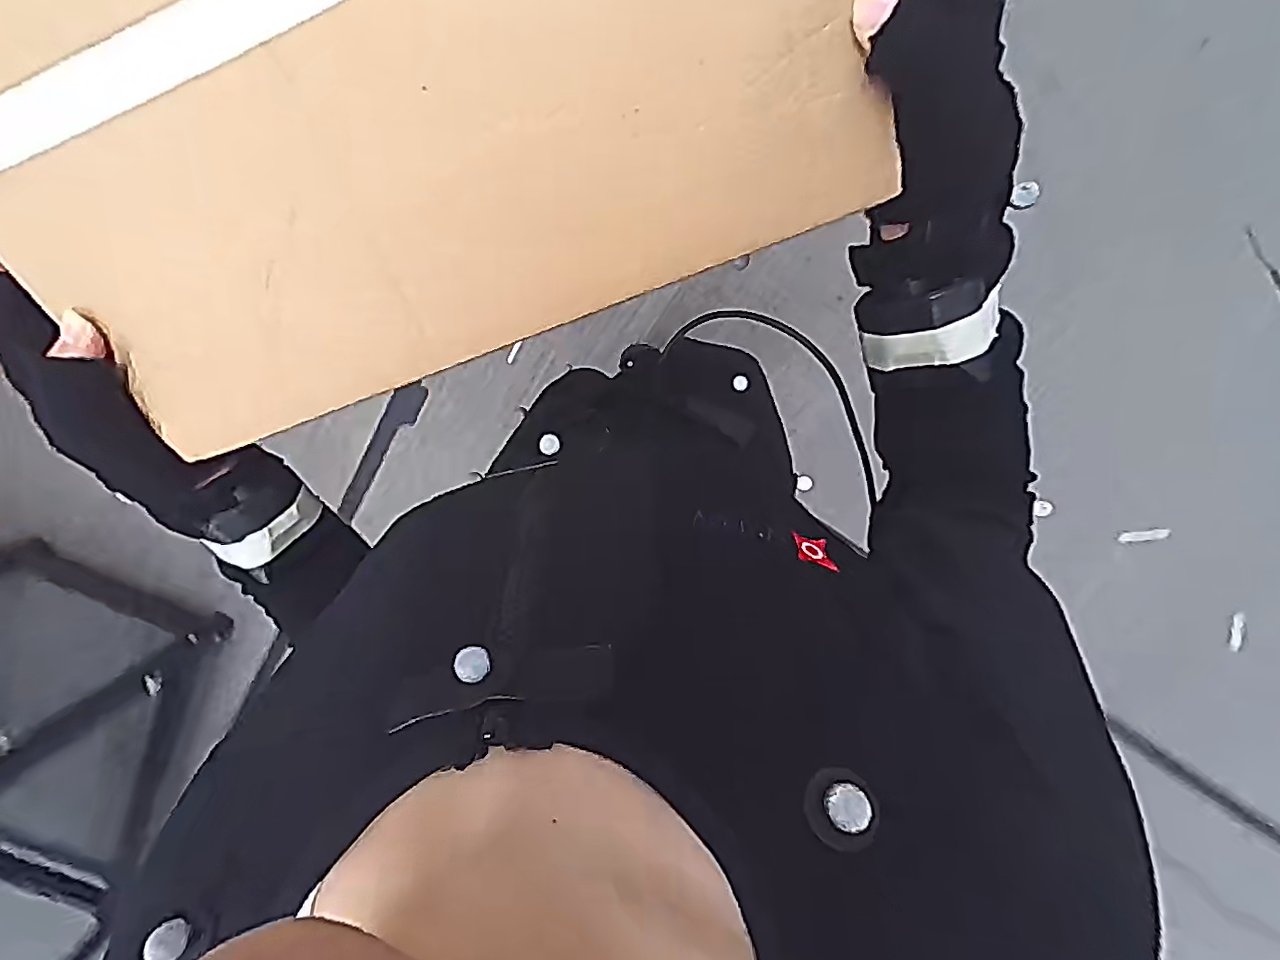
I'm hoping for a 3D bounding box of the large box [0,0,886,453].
[{"bbox_3d":[-0.117,-0.273,0.348,0.408,0.320,0.320,-17,118,9],"label":"large box"}]
